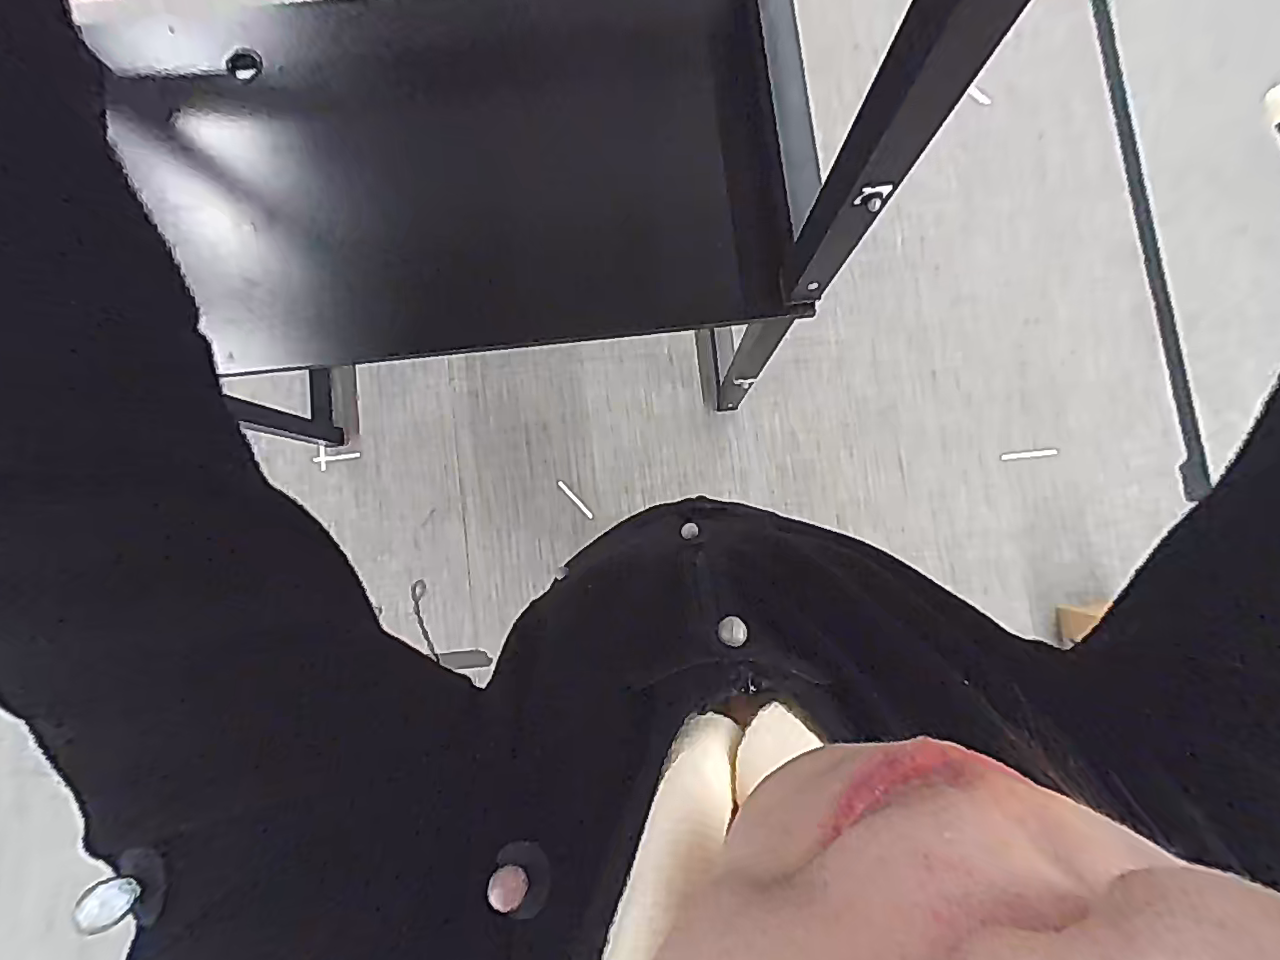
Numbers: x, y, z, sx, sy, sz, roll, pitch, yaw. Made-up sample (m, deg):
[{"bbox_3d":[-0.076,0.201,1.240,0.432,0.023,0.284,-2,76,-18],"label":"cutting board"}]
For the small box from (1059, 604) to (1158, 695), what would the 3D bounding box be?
[{"bbox_3d":[1.210,0.423,1.369,0.168,0.176,0.179,-6,86,1],"label":"small box"}]

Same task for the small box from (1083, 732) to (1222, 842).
[{"bbox_3d":[1.255,0.754,1.344,0.179,0.176,0.168,-13,86,0],"label":"small box"}]
